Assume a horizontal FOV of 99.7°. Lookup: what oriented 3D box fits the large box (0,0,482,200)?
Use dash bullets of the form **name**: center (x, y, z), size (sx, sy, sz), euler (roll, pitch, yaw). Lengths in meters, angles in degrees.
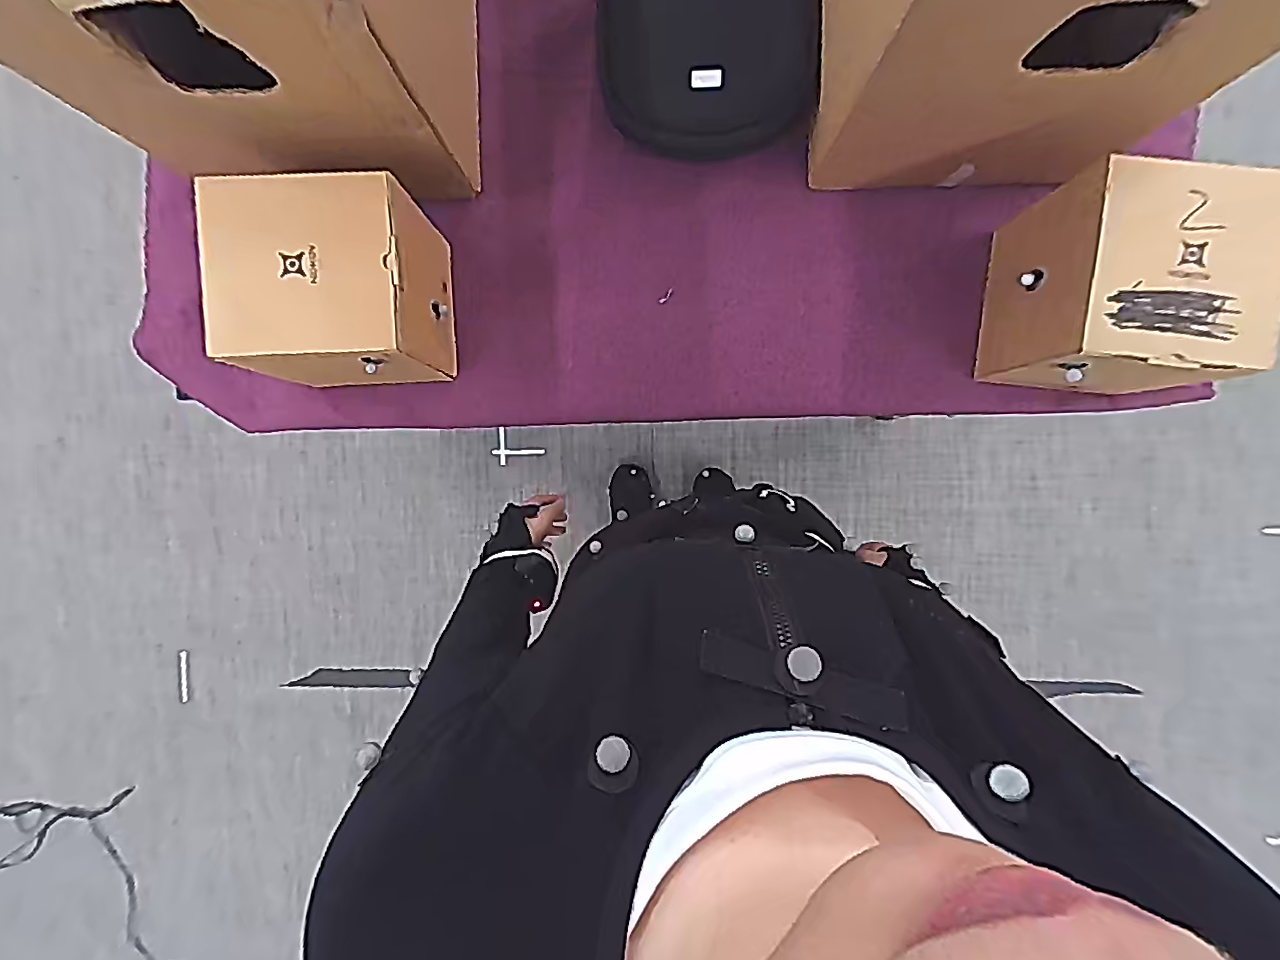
- **large box**: center (-0.347, -0.530, 0.498), size (0.320, 0.320, 0.408), euler (-1, 95, 1)
